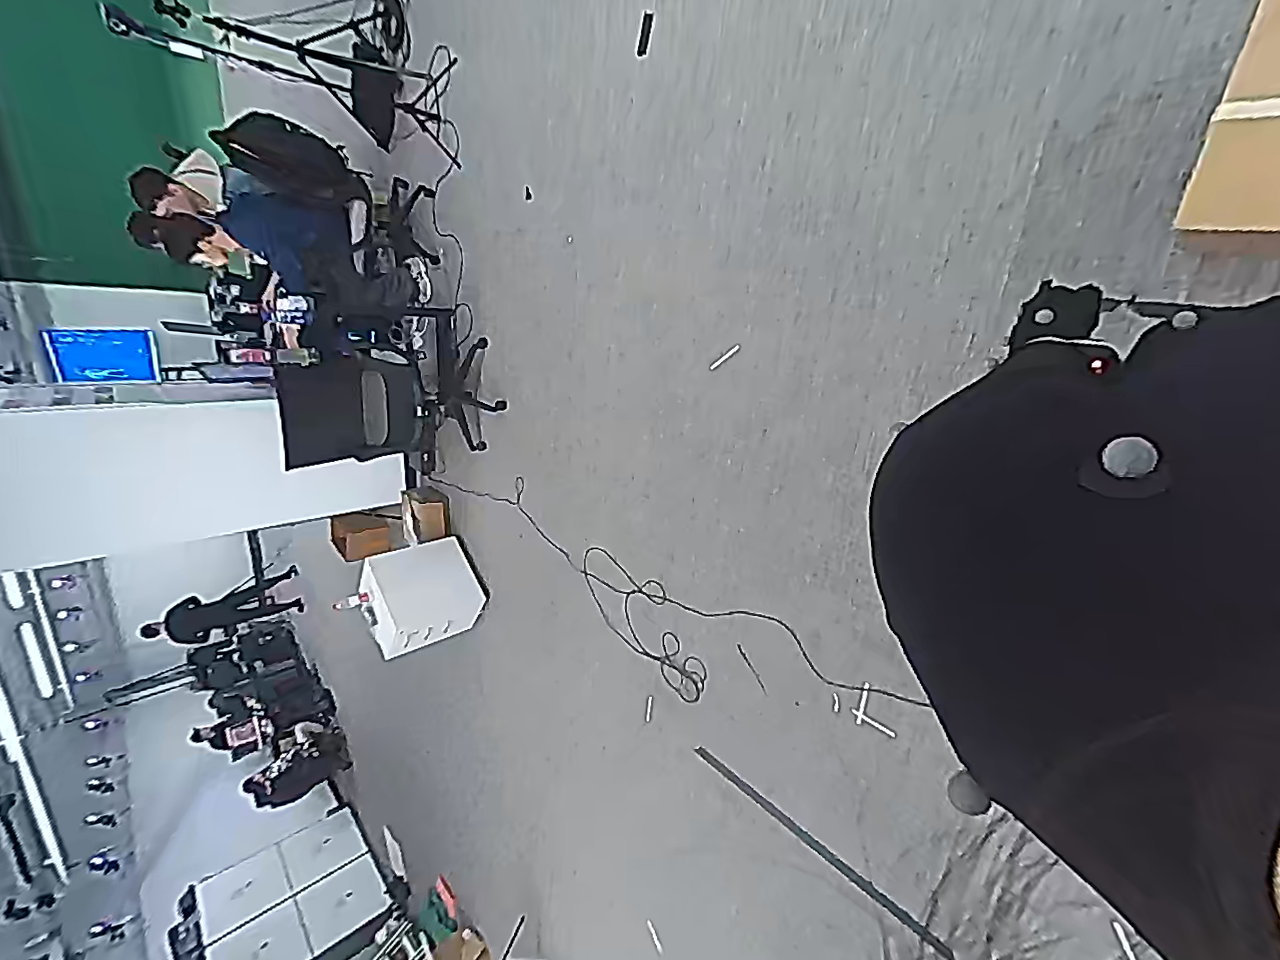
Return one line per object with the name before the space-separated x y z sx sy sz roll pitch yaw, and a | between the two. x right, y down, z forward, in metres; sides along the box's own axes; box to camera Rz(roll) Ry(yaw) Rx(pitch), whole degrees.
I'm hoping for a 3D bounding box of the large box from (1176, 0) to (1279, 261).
large box | 1.082 -0.488 0.760 0.408 0.320 0.320 24 117 40
